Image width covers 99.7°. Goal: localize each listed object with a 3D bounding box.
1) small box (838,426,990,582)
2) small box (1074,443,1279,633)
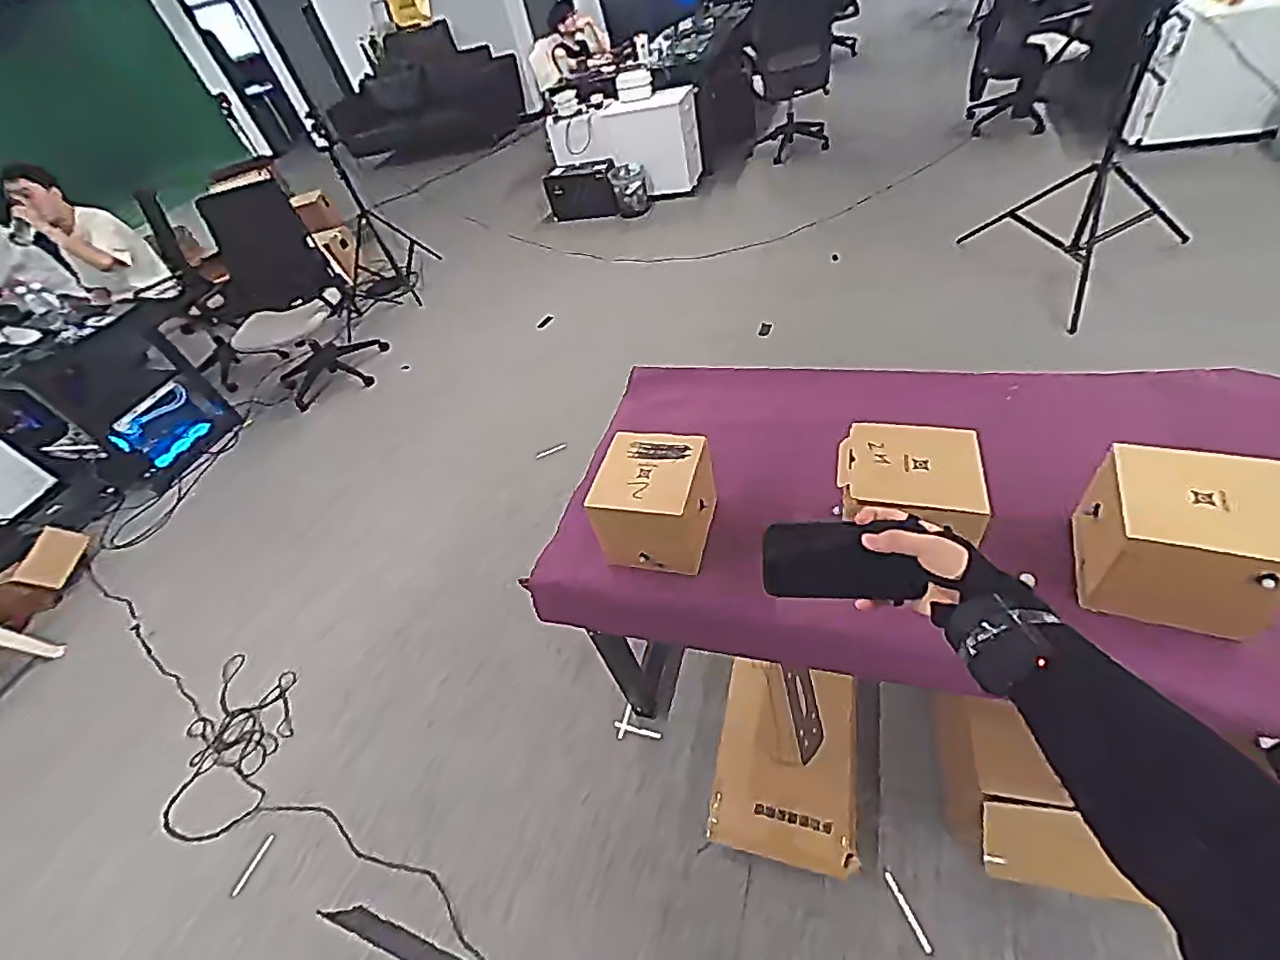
[{"bbox_3d":[0.404,0.037,0.824,0.179,0.176,0.168,4,46,20],"label":"small box"},{"bbox_3d":[0.696,0.076,0.703,0.179,0.176,0.168,10,51,24],"label":"small box"}]
